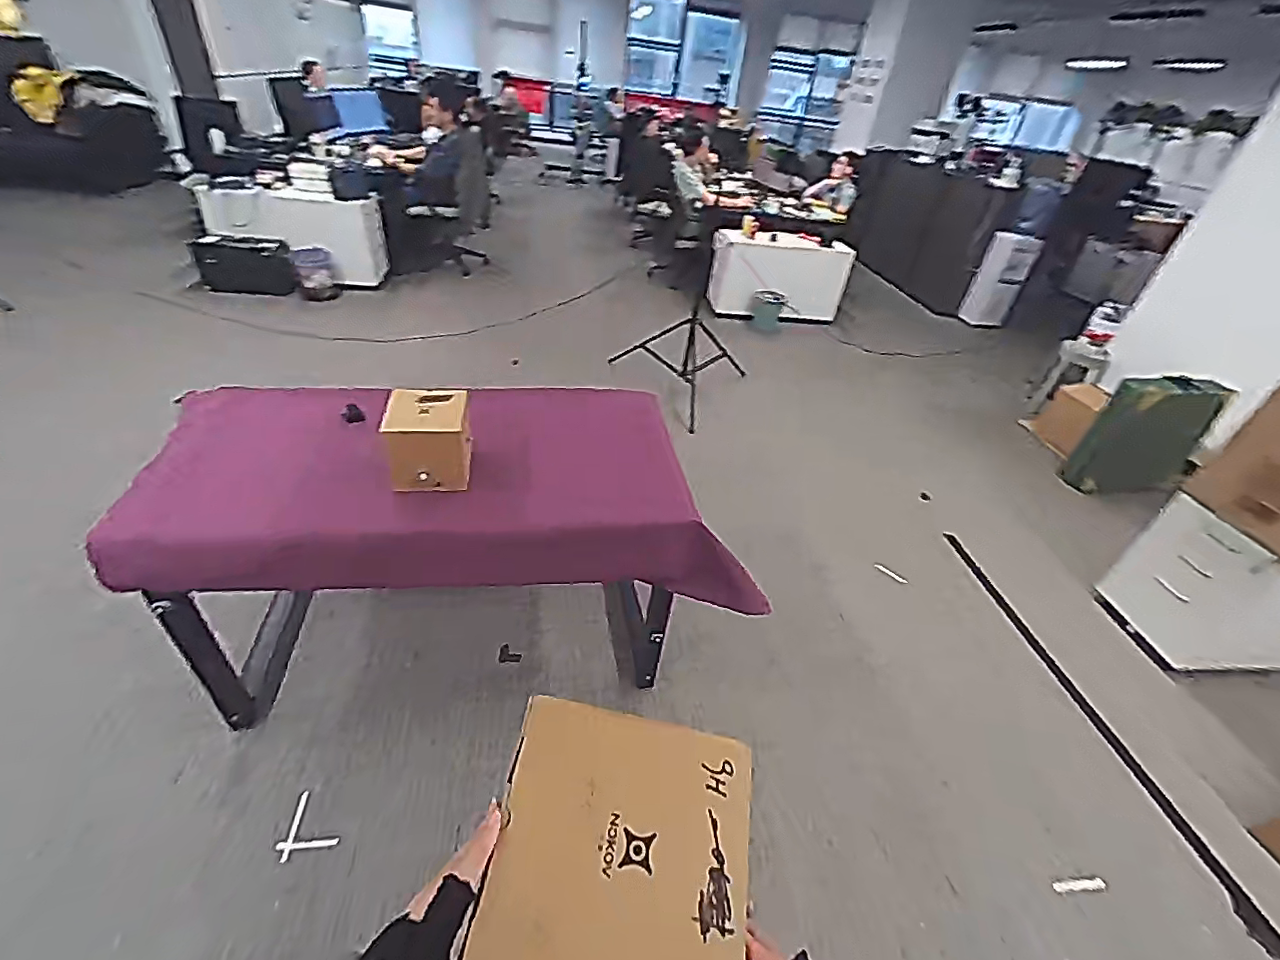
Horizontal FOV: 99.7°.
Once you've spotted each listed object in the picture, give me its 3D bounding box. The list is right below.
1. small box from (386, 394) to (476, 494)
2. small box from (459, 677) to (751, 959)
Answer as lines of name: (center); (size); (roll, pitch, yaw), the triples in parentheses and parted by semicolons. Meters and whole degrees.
small box: (-0.479, -0.085, 1.264); (0.168, 0.176, 0.179); (-1, 38, -11)
small box: (-0.025, 0.279, 0.426); (0.179, 0.176, 0.168); (14, 51, -4)
